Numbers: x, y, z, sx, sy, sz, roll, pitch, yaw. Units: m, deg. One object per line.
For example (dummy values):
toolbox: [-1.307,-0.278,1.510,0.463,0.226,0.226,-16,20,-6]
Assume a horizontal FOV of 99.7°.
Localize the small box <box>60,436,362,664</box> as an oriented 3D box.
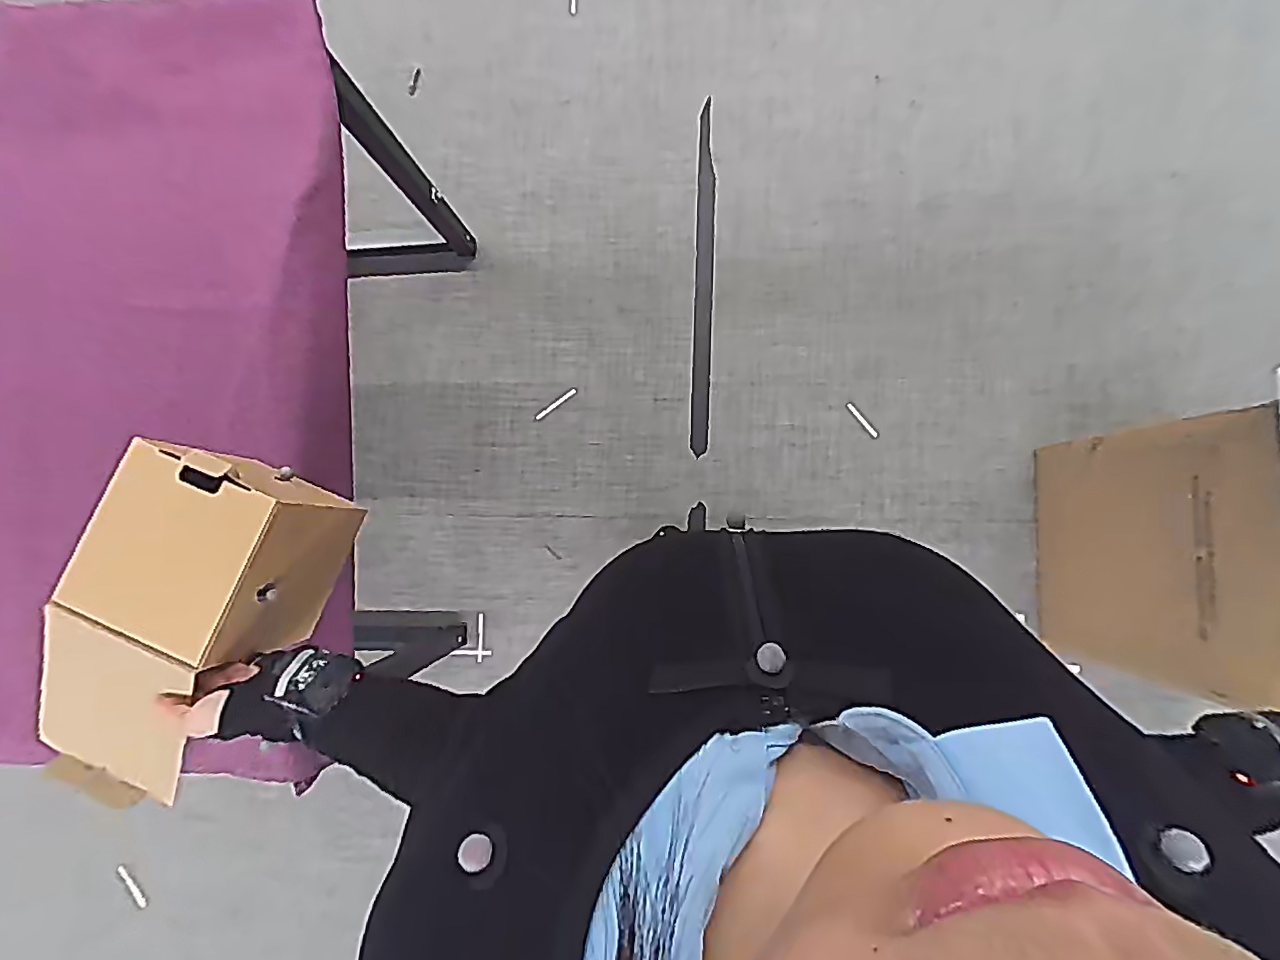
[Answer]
small box: [-0.450,0.074,0.601,0.168,0.176,0.179,23,84,4]
